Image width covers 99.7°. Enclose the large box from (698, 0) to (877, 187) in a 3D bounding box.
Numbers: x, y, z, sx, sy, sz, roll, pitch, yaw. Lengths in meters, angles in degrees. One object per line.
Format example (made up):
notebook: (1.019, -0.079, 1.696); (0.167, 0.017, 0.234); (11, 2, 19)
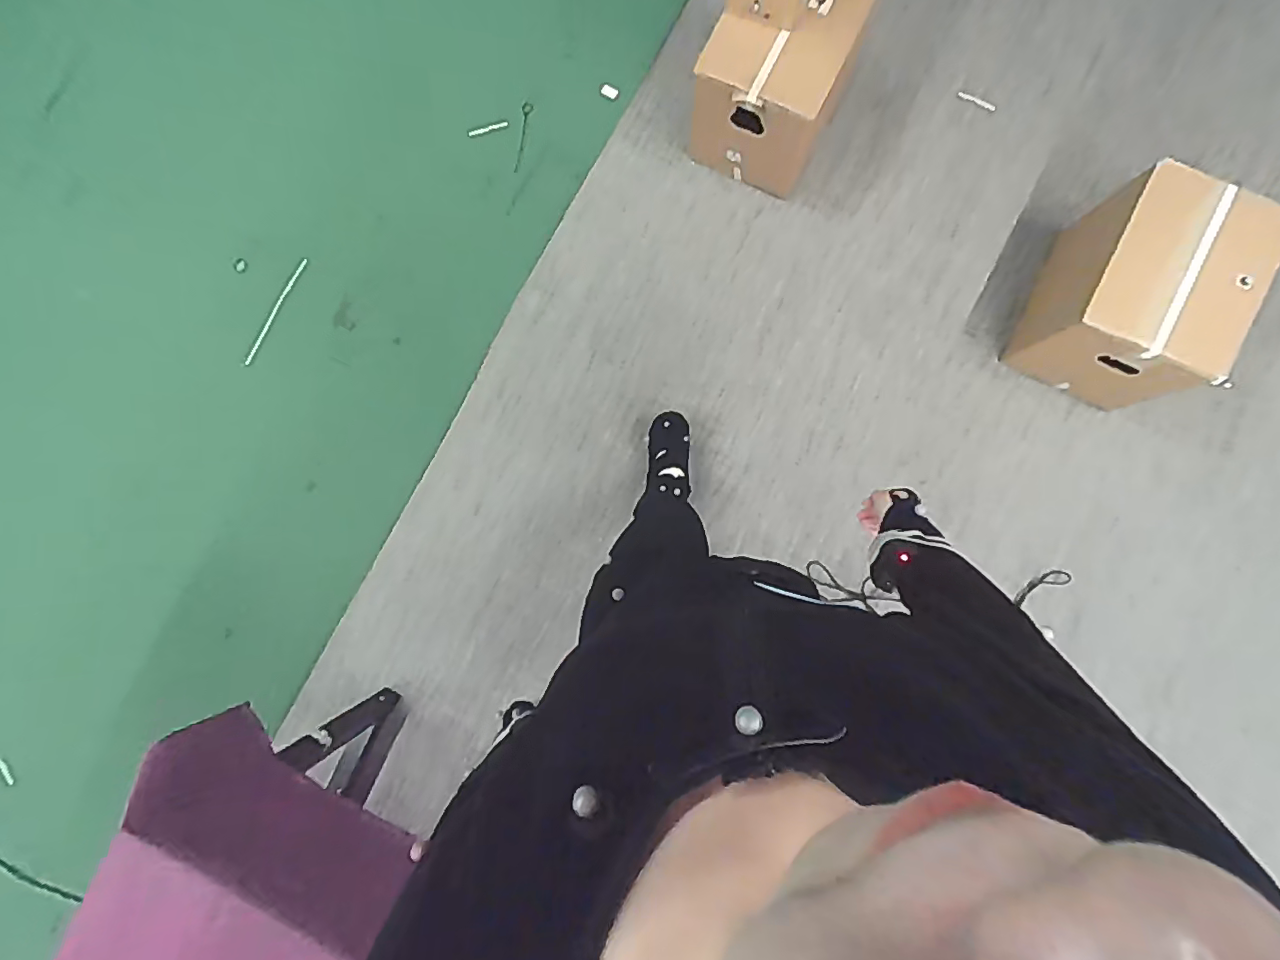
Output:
large box: (0.370, -1.073, 1.402); (0.320, 0.320, 0.408); (27, 88, 7)
